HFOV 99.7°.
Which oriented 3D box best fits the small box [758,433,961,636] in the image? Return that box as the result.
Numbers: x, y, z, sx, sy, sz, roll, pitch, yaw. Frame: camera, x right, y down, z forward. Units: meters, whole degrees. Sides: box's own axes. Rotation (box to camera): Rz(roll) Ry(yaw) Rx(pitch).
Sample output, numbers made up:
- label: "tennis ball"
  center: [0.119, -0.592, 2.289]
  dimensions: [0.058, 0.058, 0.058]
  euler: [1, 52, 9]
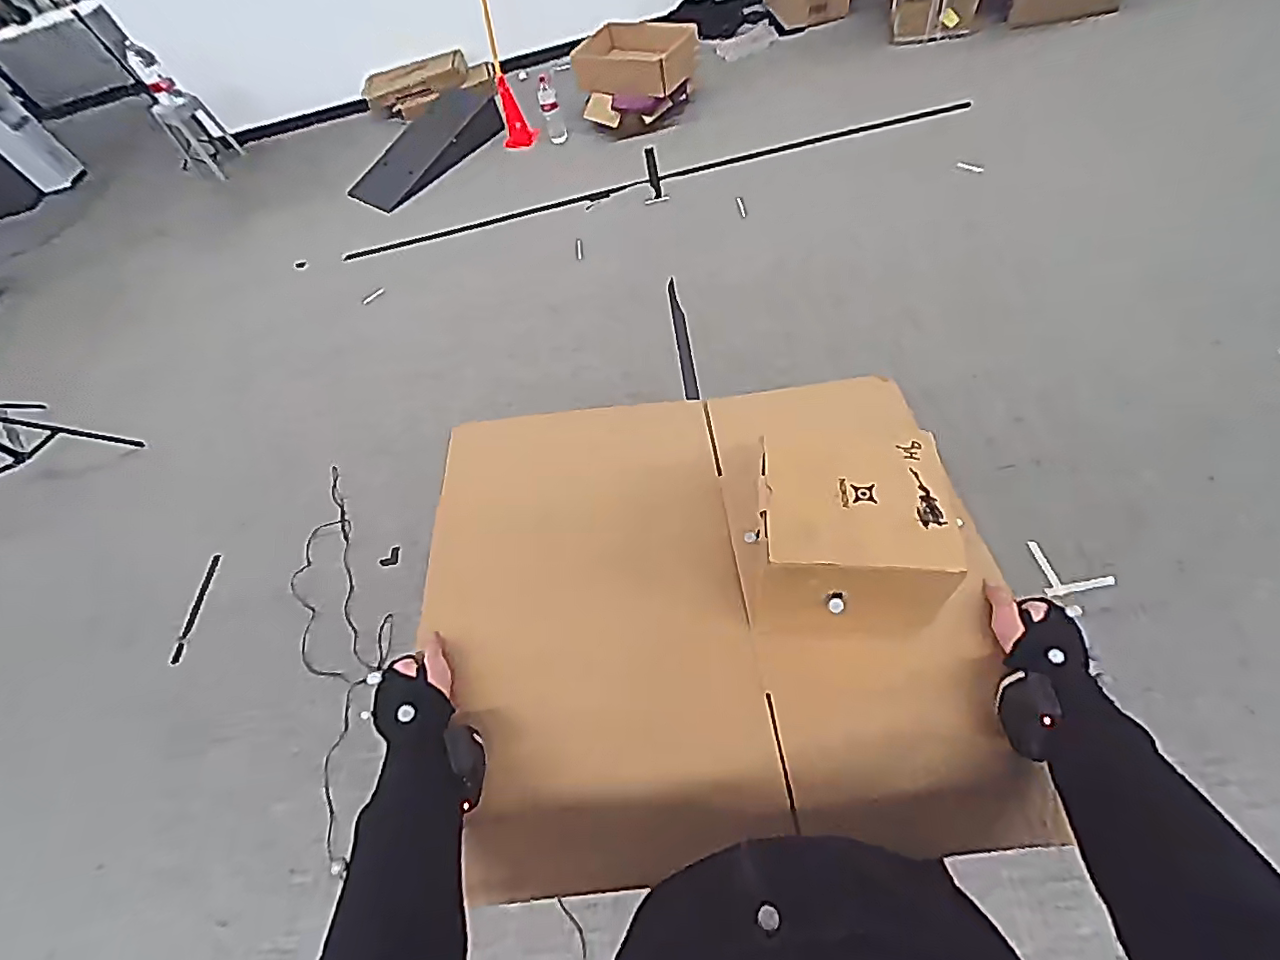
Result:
- label: "small box"
  center: [0.222, 0.064, 0.605]
  dimensions: [0.179, 0.176, 0.168]
  euler: [0, 54, 10]
